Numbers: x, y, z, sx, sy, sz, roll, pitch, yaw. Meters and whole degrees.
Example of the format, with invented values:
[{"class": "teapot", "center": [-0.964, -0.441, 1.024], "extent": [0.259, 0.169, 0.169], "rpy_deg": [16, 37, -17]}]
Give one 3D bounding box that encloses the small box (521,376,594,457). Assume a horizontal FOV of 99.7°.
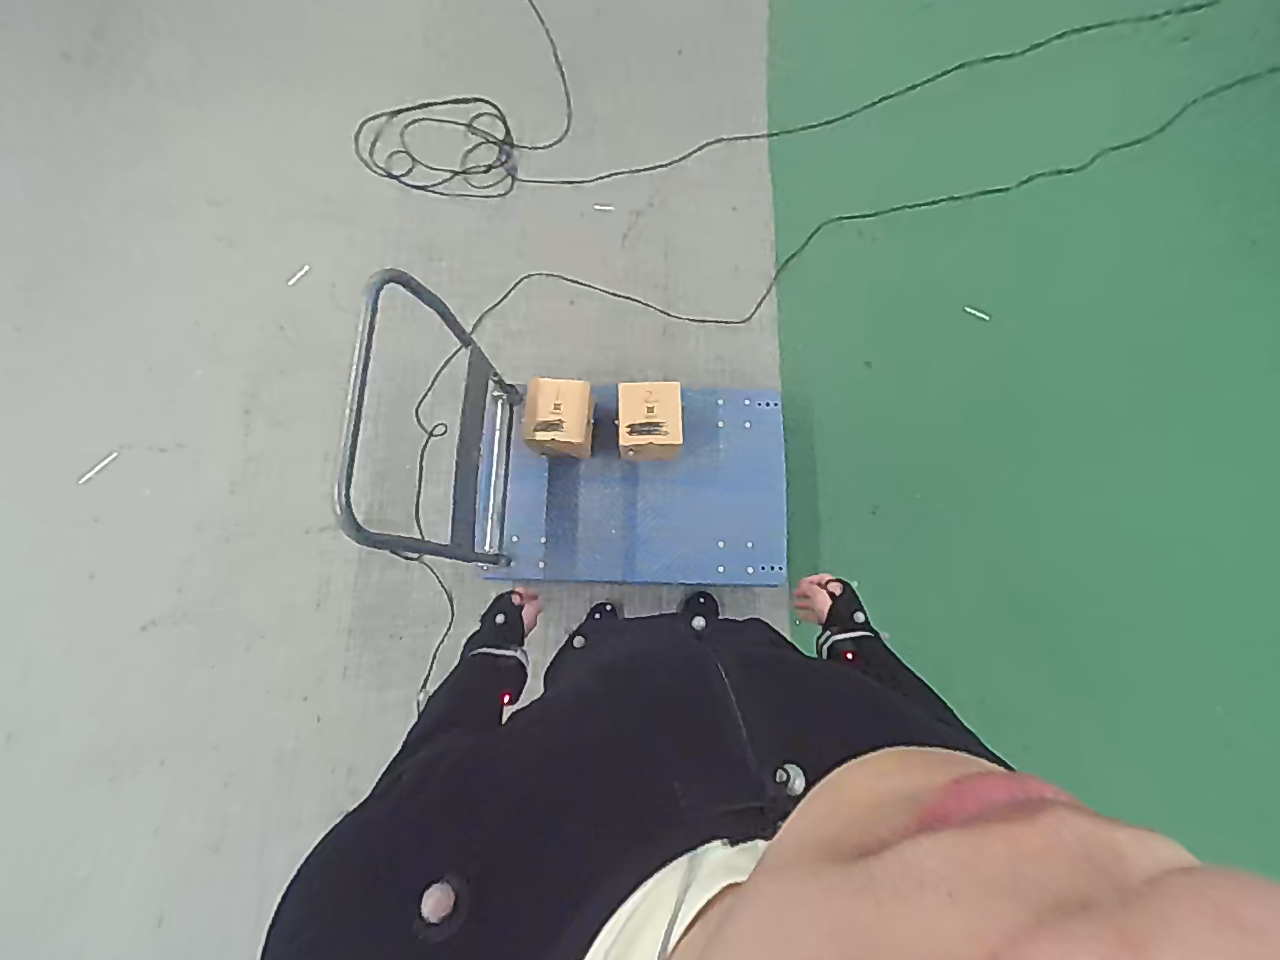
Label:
[{"class": "small box", "center": [-0.220, -0.168, 1.488], "extent": [0.168, 0.176, 0.179], "rpy_deg": [4, 77, 0]}]
